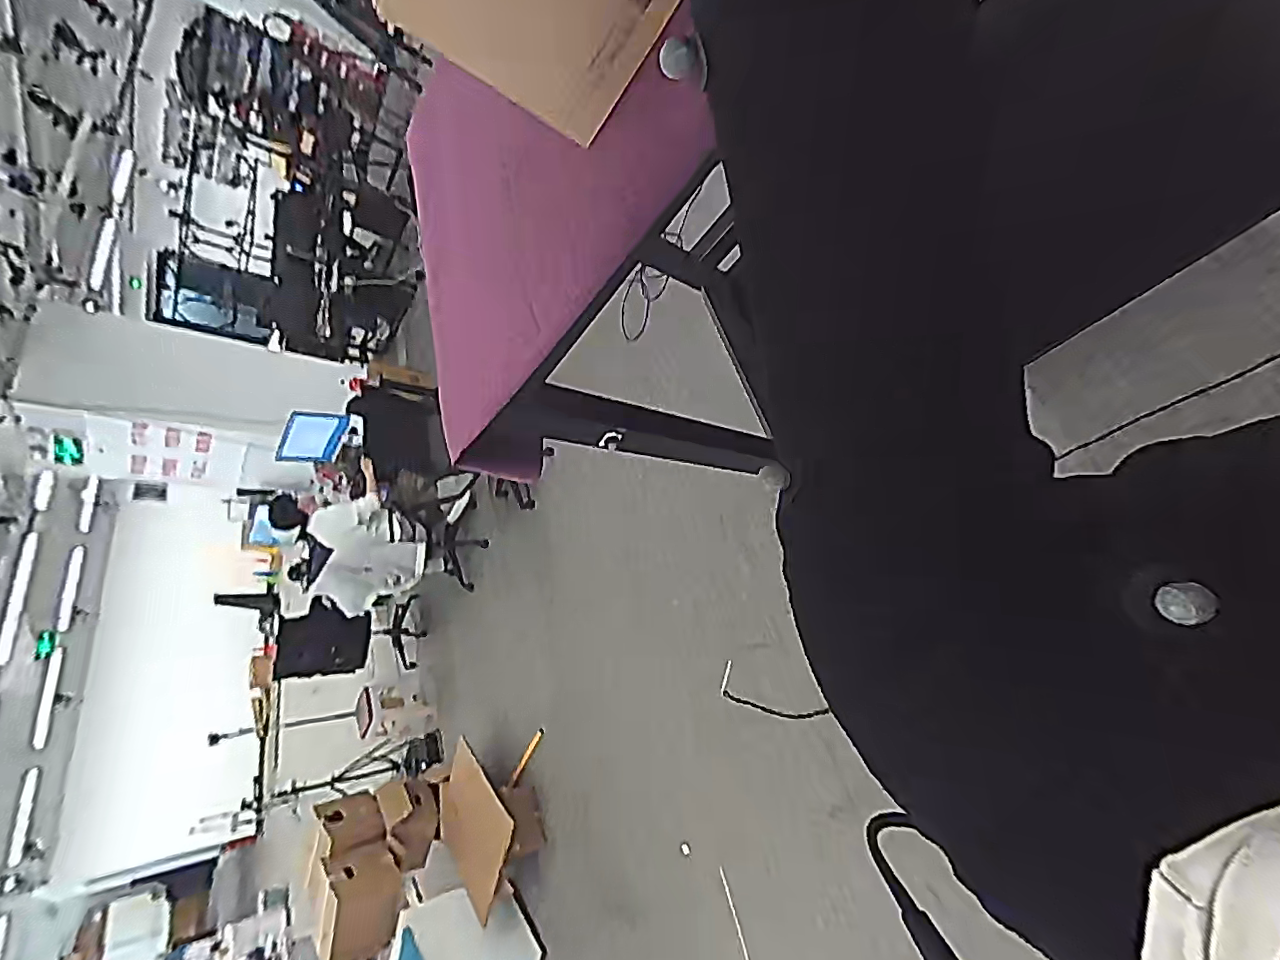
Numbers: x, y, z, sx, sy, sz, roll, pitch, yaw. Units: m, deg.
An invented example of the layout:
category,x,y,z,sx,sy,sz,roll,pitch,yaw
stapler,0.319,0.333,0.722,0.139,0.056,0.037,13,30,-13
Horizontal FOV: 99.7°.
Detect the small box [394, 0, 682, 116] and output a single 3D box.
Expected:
category,x,y,z,sx,sy,sz,roll,pitch,yaw
small box,-0.066,-0.403,0.378,0.168,0.176,0.179,-38,56,38
